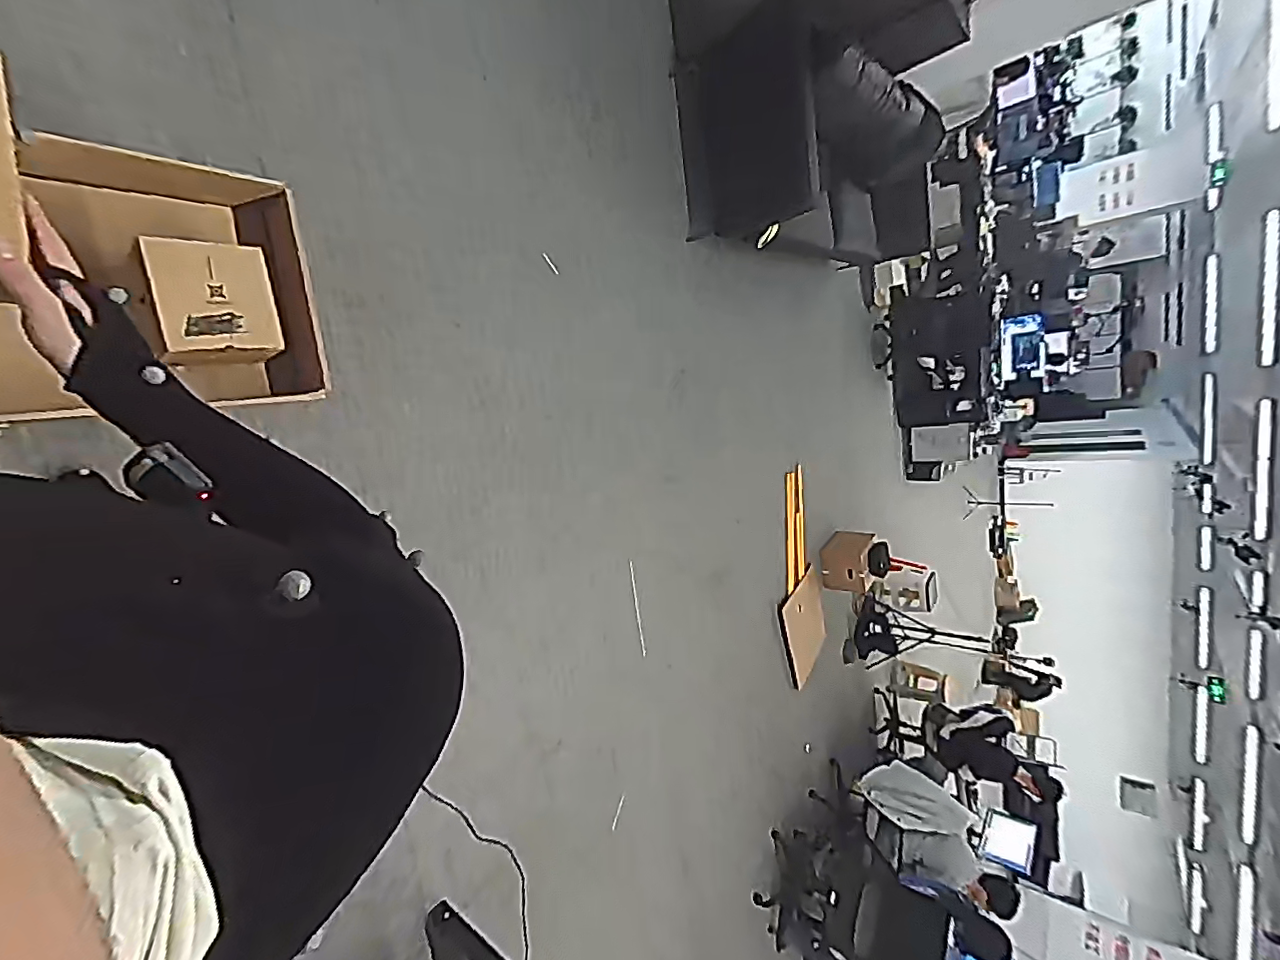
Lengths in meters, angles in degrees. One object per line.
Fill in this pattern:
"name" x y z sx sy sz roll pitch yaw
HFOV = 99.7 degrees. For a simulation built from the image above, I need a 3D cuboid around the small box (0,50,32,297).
"small box" -0.613 -0.254 0.423 0.168 0.176 0.179 -8 102 -49
